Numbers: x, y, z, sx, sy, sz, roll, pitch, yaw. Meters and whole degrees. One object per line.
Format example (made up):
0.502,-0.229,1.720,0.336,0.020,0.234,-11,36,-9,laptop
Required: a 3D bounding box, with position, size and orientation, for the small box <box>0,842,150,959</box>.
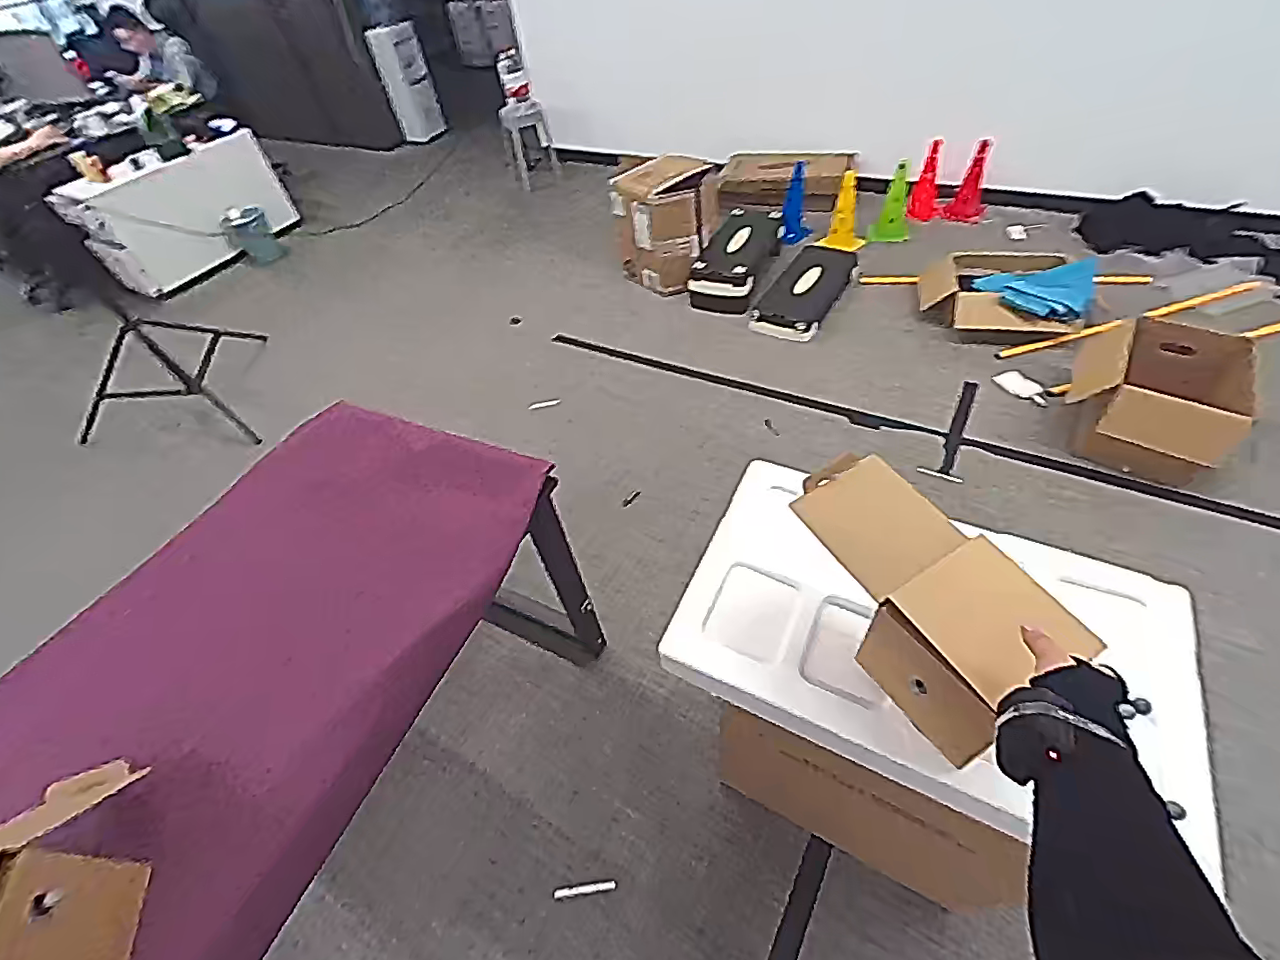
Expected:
-0.664,0.508,0.551,0.168,0.176,0.179,-18,49,-5,small box
